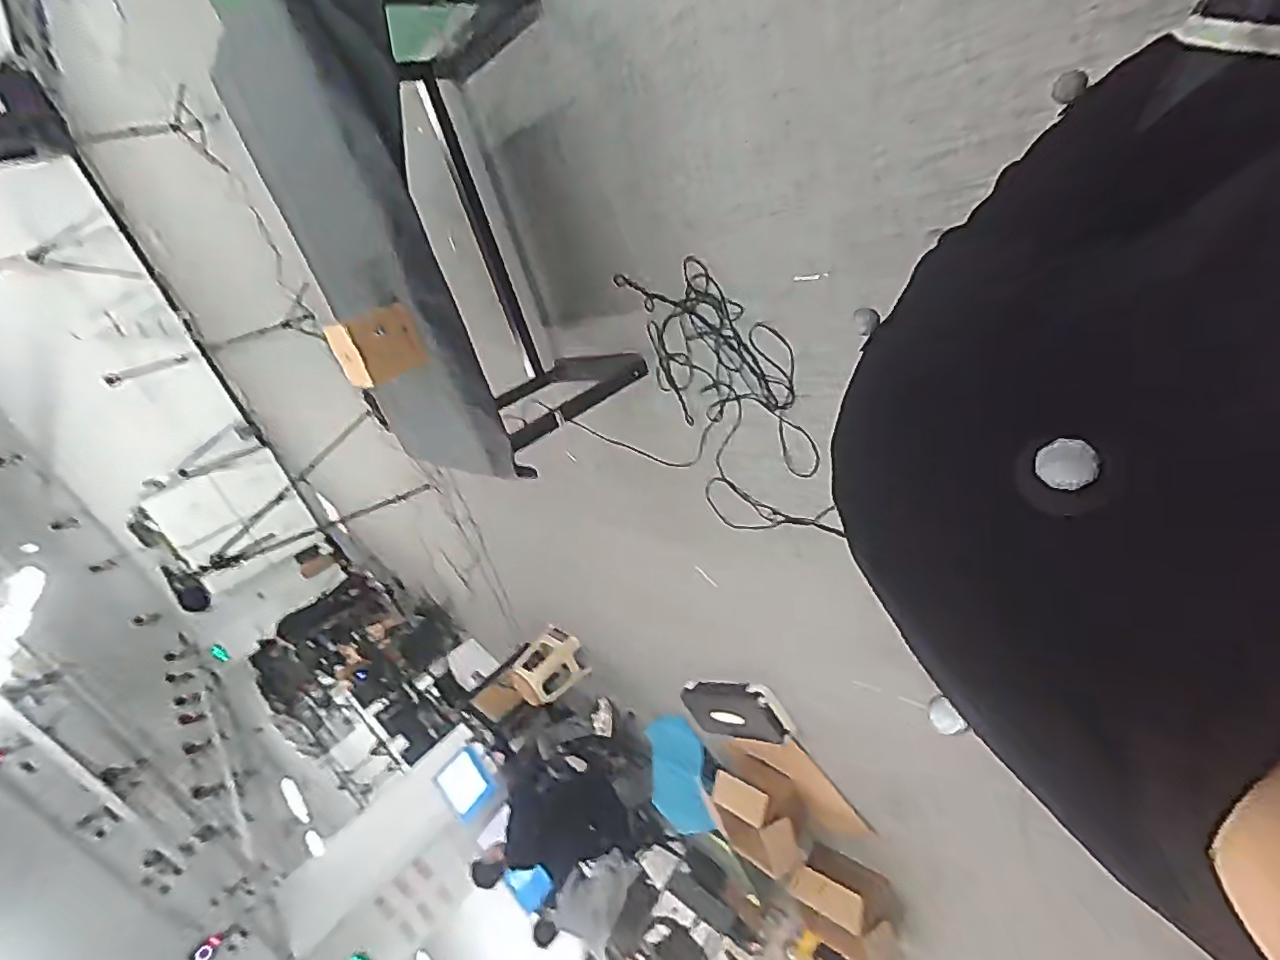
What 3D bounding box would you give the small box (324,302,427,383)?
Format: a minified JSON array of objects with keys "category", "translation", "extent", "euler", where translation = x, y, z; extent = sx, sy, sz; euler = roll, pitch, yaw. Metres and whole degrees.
[{"category":"small box","translation":[-0.699,-0.369,1.446],"extent":[0.179,0.176,0.168],"euler":[12,127,45]}]
